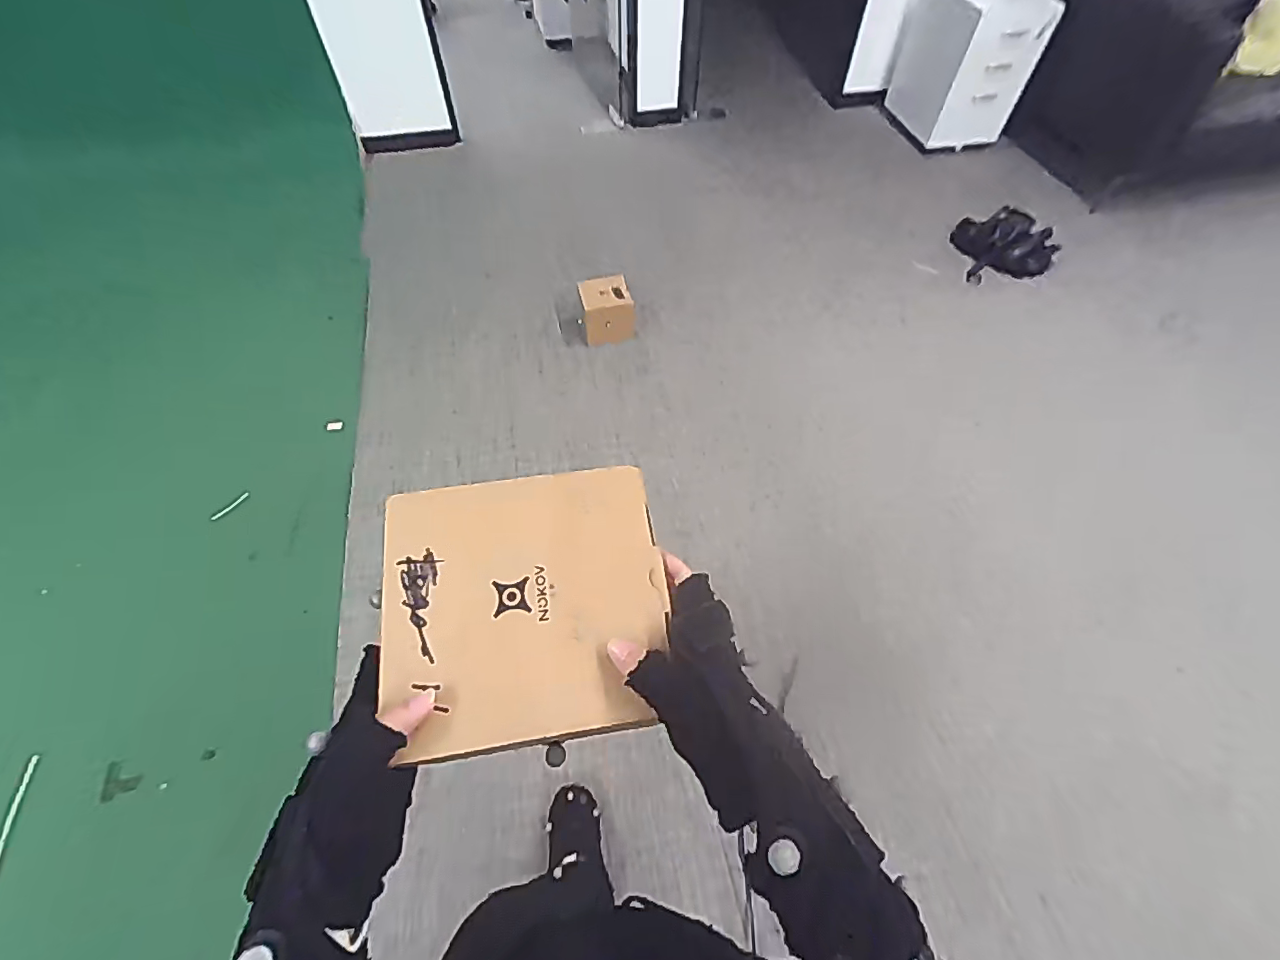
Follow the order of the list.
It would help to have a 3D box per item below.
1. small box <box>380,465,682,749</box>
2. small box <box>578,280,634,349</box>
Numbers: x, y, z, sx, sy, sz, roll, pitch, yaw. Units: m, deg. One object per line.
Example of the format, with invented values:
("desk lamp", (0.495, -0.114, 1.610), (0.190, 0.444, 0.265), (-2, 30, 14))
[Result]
("small box", (-0.078, 0.104, 0.417), (0.179, 0.176, 0.168), (-6, 64, -8))
("small box", (-0.125, -0.611, 2.004), (0.179, 0.176, 0.168), (-12, 57, -7))
